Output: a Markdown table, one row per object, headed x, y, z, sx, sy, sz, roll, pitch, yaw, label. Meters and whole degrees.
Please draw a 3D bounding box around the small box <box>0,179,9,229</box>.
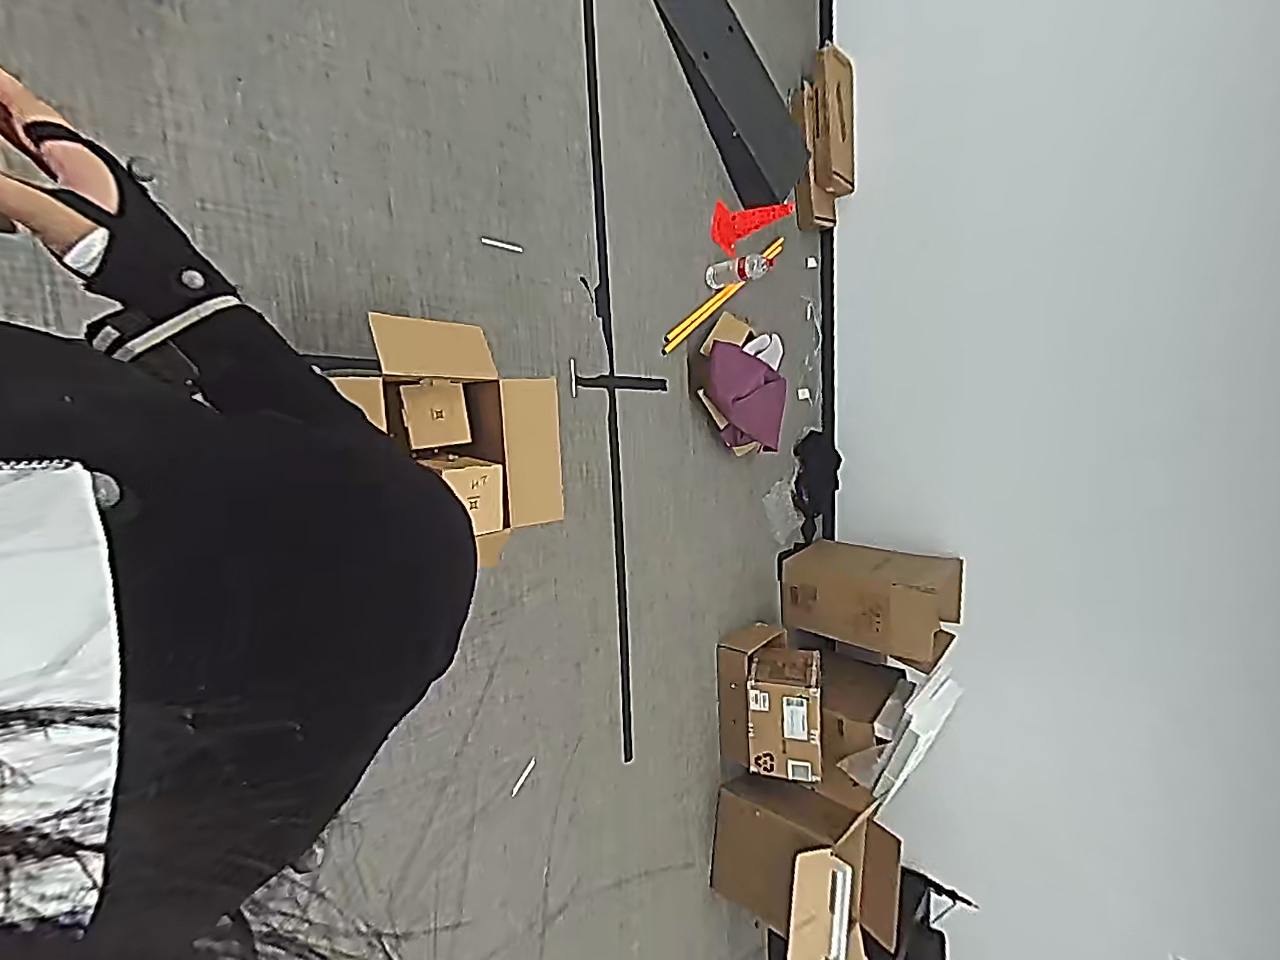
| x | y | z | sx | sy | sz | roll | pitch | yaw | label |
| --- | --- | --- | --- | --- | --- | --- | --- | --- | --- |
| -0.525 | -0.265 | 0.319 | 0.168 | 0.176 | 0.179 | -14 | 106 | -42 | small box |
